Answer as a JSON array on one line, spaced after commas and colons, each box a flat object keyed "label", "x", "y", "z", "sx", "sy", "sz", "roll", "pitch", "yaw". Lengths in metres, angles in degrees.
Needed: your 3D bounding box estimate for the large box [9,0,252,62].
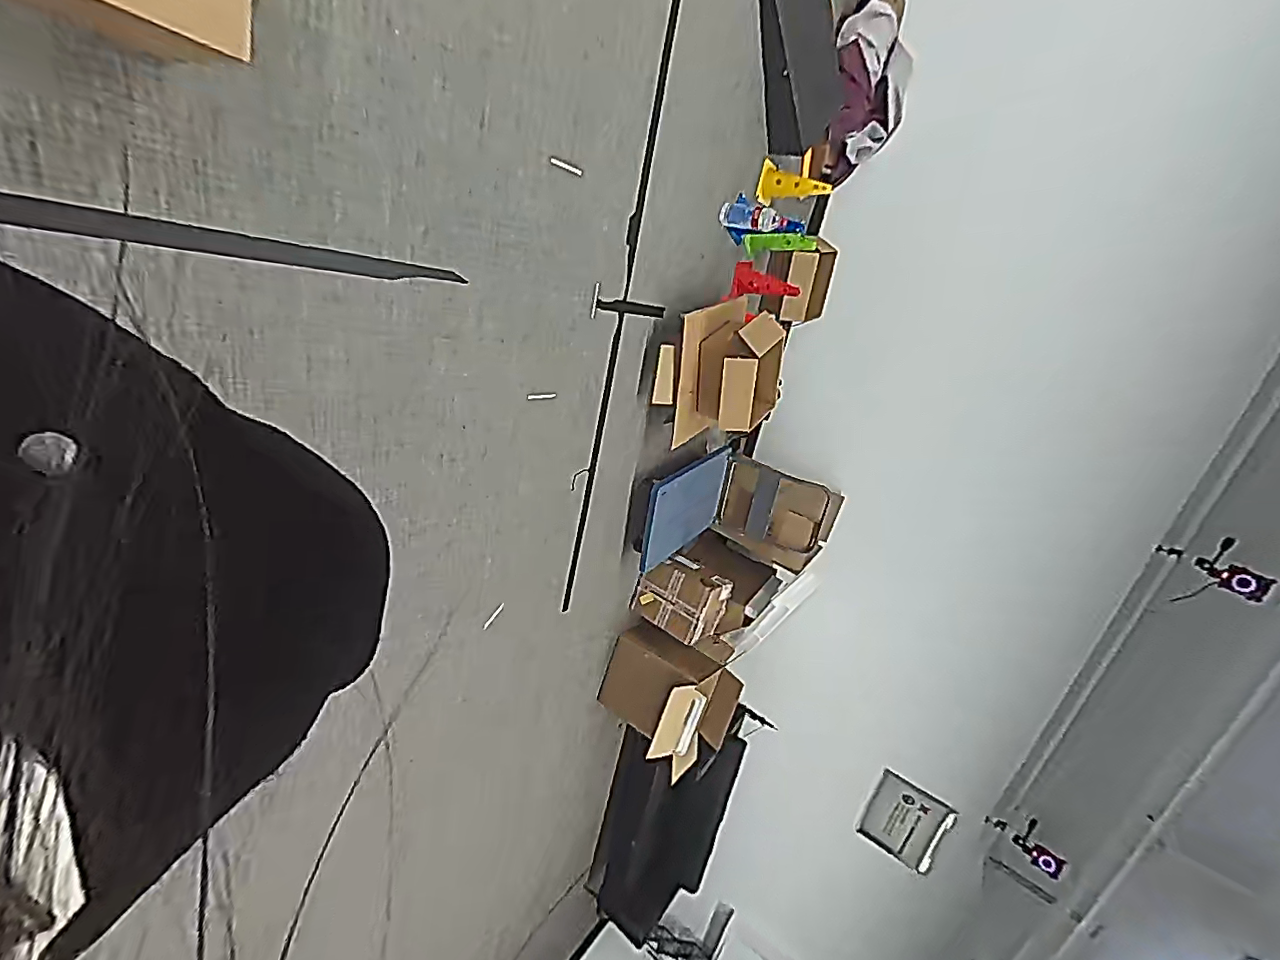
[{"label": "large box", "x": -0.820, "y": -0.832, "z": 0.725, "sx": 0.408, "sy": 0.320, "sz": 0.320, "roll": -15, "pitch": 124, "yaw": -56}]
